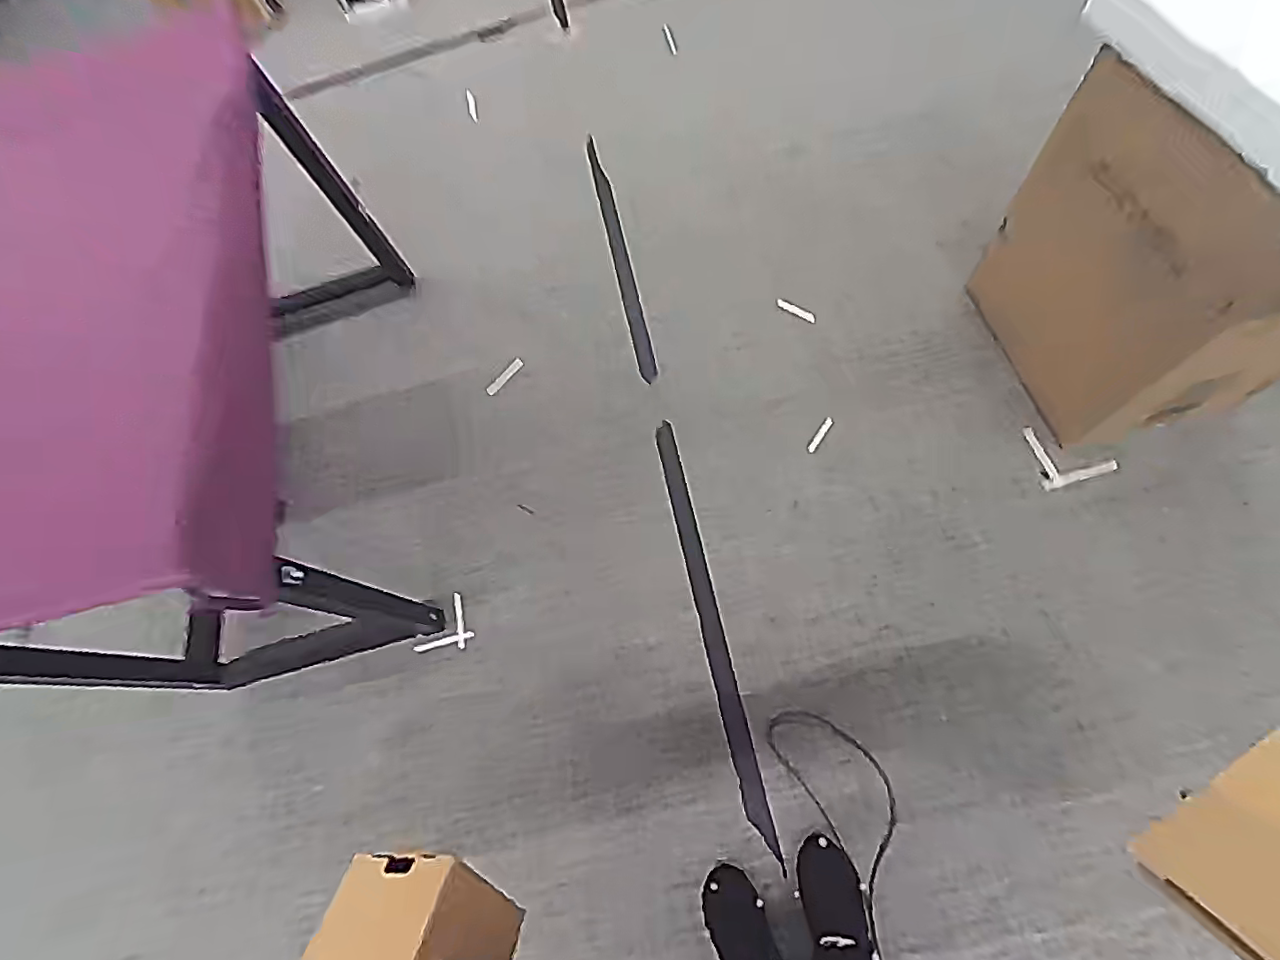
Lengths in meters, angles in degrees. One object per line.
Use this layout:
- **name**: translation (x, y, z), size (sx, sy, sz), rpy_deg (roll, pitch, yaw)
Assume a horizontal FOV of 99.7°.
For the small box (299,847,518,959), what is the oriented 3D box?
- **small box**: translation (-0.269, 0.563, 0.631), size (0.168, 0.176, 0.179), rpy_deg (-14, 31, 20)
